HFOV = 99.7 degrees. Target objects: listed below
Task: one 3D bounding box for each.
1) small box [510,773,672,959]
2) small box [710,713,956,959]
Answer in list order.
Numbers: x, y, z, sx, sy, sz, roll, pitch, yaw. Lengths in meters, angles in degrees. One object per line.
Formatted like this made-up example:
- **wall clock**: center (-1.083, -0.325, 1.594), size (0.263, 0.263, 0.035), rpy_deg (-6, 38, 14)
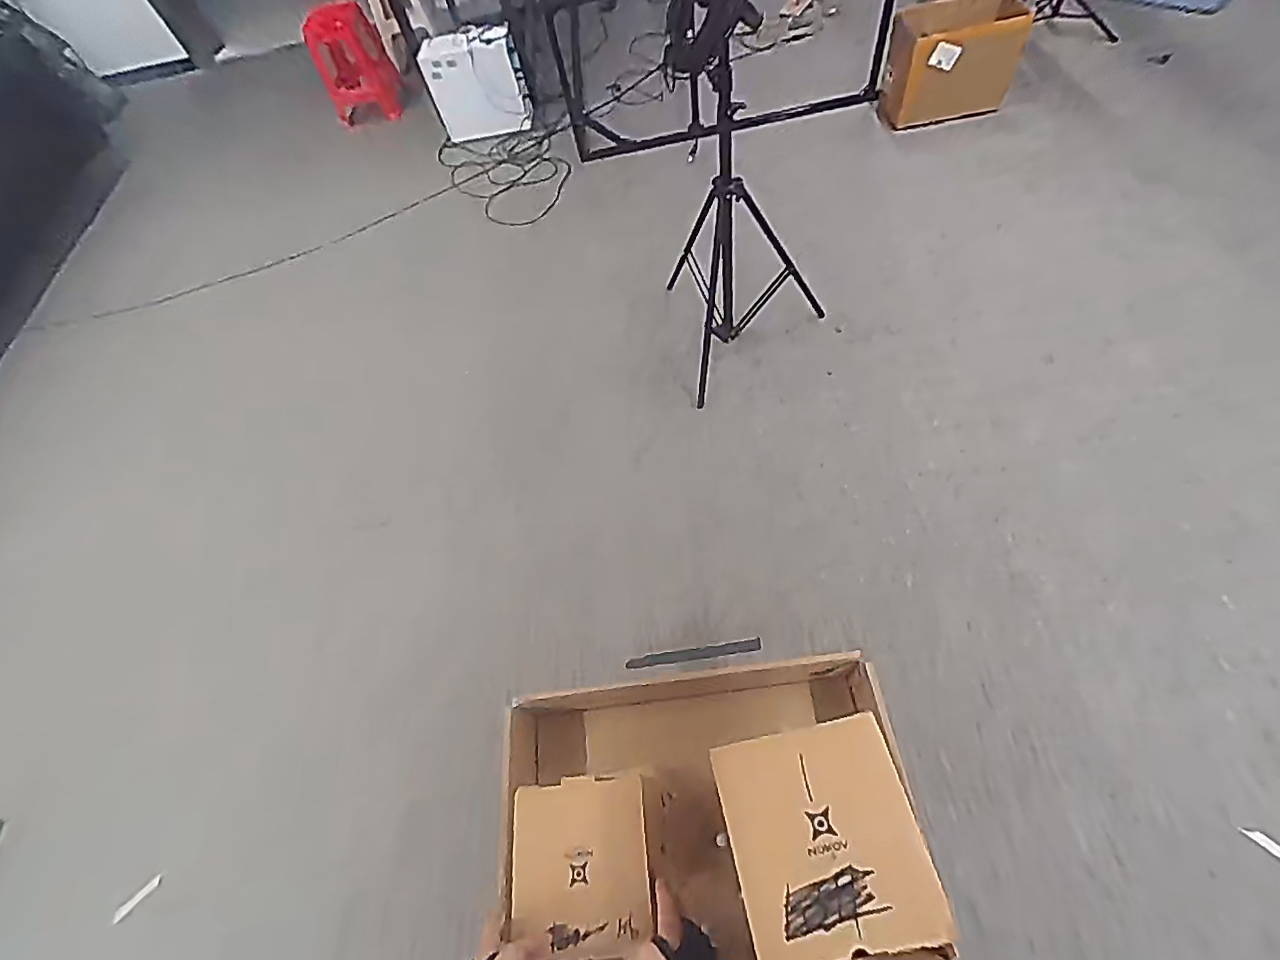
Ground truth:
- **small box**: center (-0.056, 0.493, 0.702), size (0.168, 0.176, 0.179), rpy_deg (-10, 57, 7)
- **small box**: center (0.175, 0.353, 0.548), size (0.168, 0.176, 0.179), rpy_deg (-14, 58, 2)
